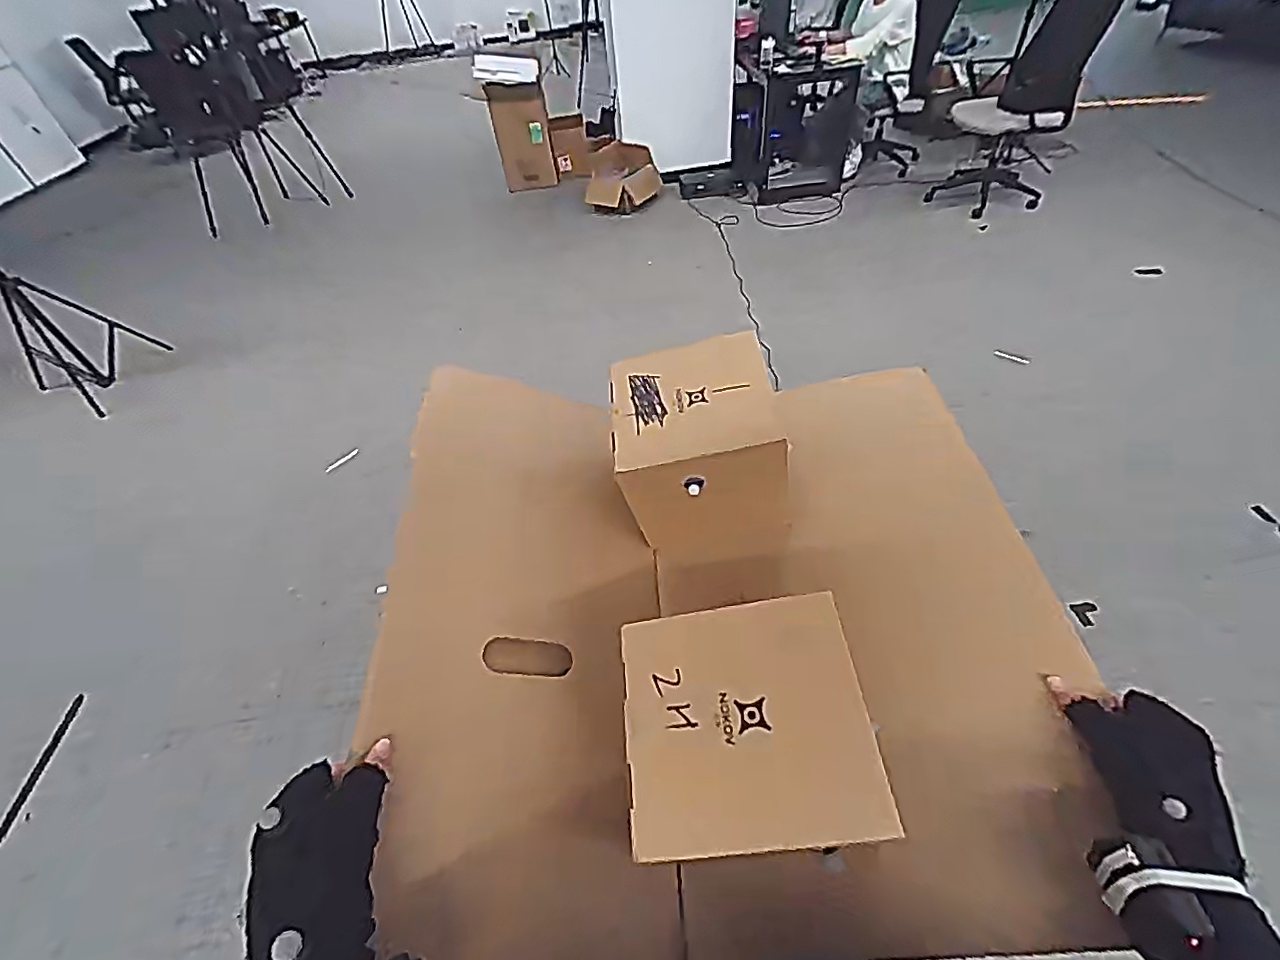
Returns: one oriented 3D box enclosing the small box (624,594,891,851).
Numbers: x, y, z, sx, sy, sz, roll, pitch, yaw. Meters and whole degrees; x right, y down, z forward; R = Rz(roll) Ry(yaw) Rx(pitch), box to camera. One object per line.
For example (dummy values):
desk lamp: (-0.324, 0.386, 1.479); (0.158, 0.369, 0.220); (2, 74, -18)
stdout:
small box: (0.094, 0.218, 0.470); (0.179, 0.176, 0.168); (-12, 53, 10)

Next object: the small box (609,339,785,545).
small box: (0.071, -0.037, 0.657); (0.179, 0.176, 0.168); (-11, 53, 9)
